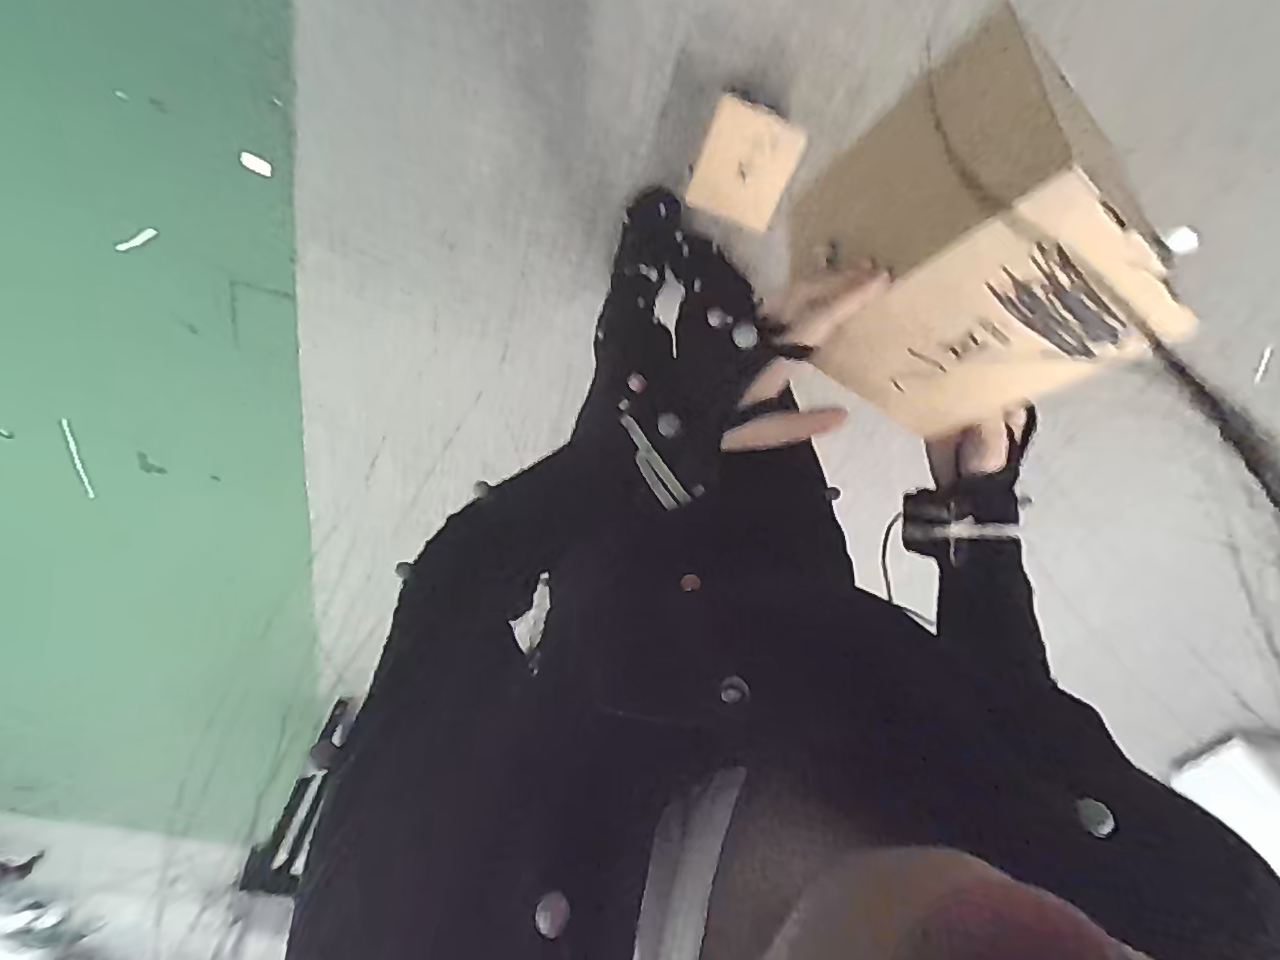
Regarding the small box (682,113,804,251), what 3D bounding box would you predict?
[{"bbox_3d":[0.191,-0.582,1.051,0.168,0.176,0.179,18,126,-11],"label":"small box"}]
